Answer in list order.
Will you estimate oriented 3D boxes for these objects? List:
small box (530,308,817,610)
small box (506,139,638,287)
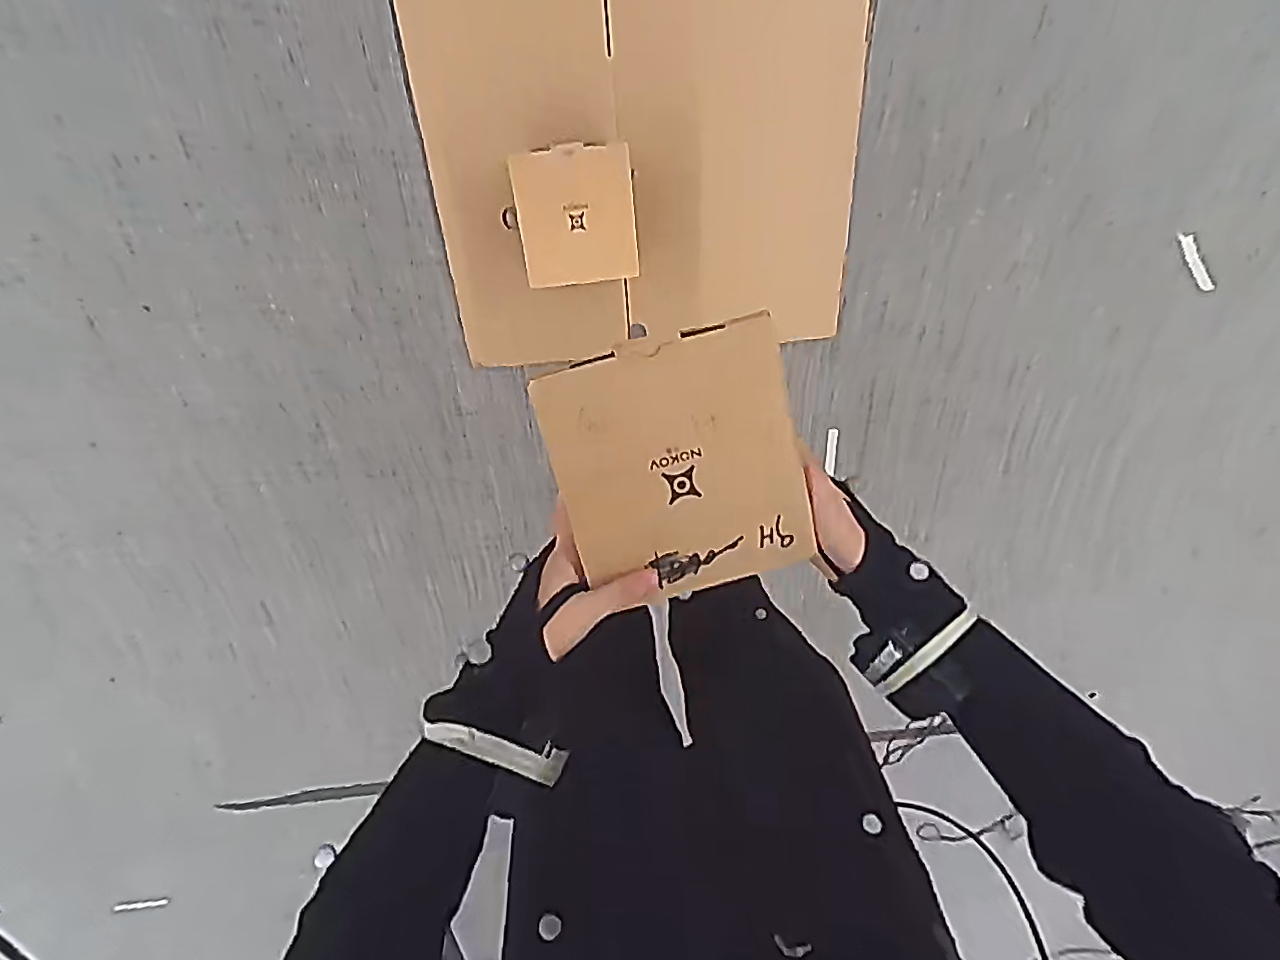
[{"bbox_3d":[0.022,-0.026,0.442,0.168,0.176,0.179,-15,104,1],"label":"small box"},{"bbox_3d":[-0.097,-0.404,0.822,0.168,0.176,0.179,-8,118,-3],"label":"small box"}]
